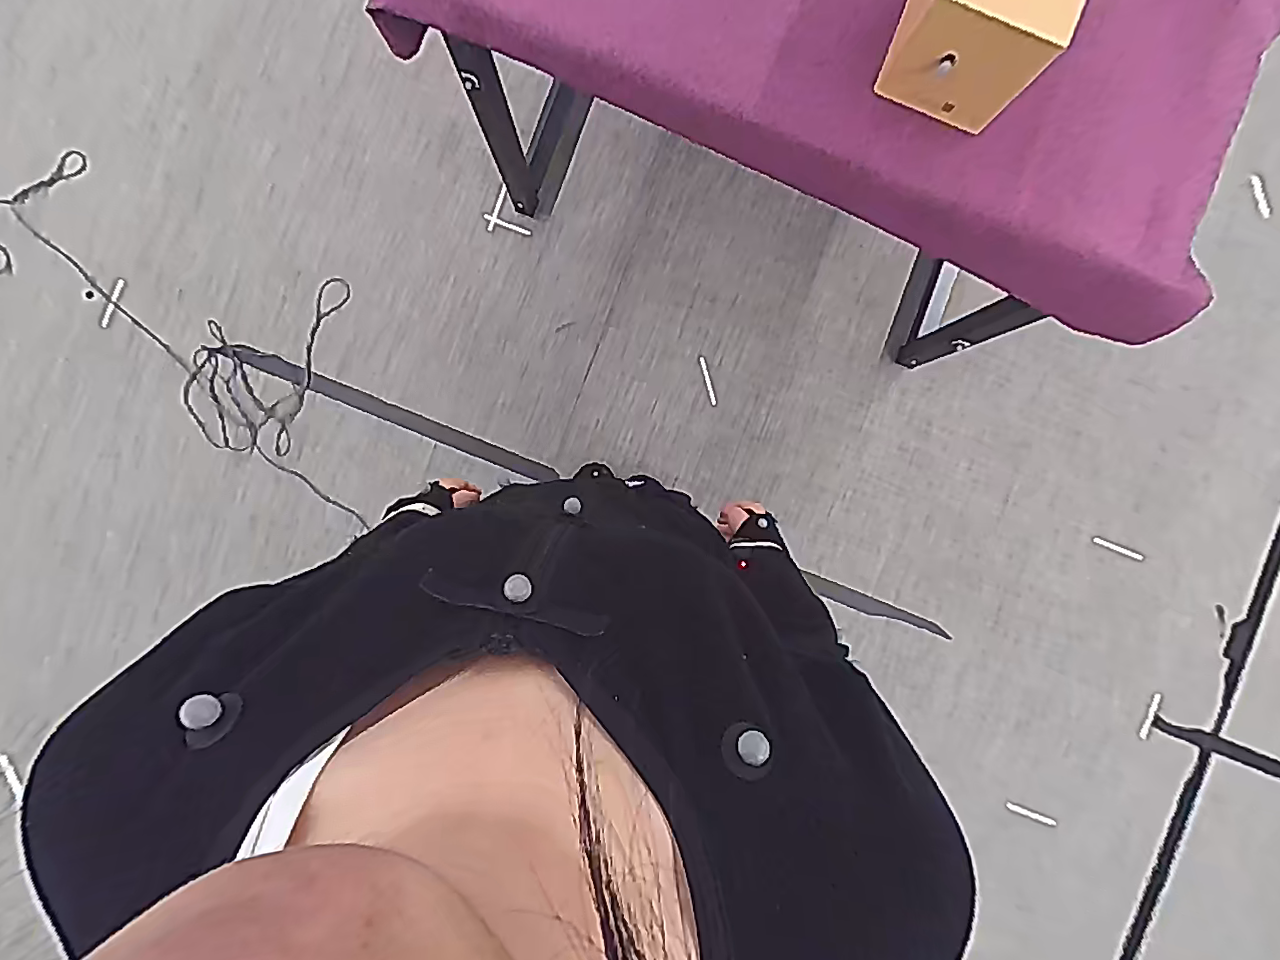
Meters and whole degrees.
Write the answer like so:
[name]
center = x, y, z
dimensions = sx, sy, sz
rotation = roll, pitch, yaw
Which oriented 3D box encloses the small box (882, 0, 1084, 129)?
[small box]
center = 0.446, -0.608, 0.704
dimensions = 0.168, 0.176, 0.179
rotation = 21, 89, -2
